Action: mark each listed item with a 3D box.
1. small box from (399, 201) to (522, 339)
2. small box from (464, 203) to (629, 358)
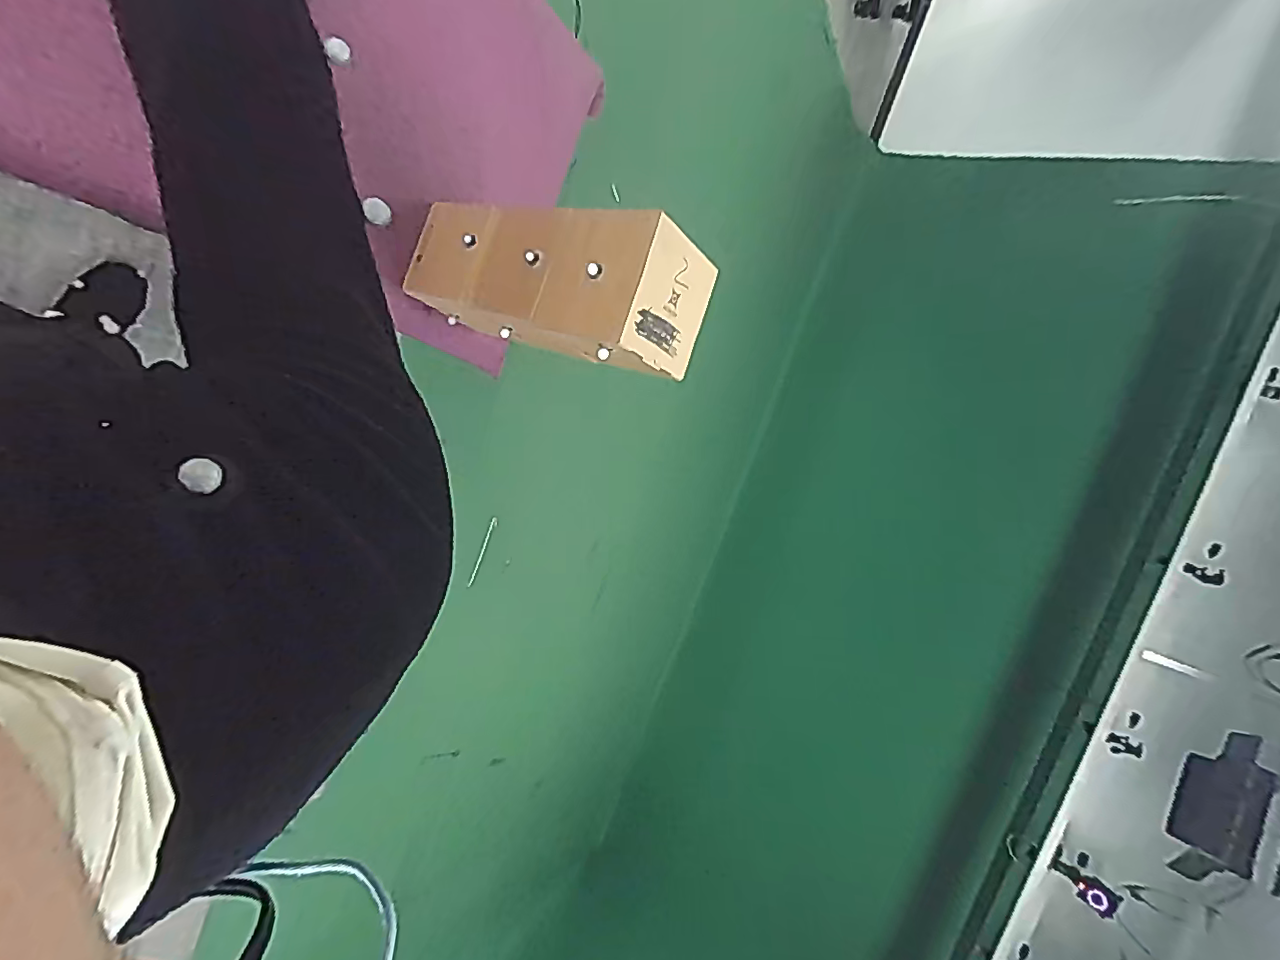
[{"bbox_3d":[-0.283,-0.373,0.958,0.179,0.176,0.168,19,92,-59],"label":"small box"},{"bbox_3d":[-0.152,-0.324,0.874,0.168,0.176,0.179,20,92,-57],"label":"small box"}]
